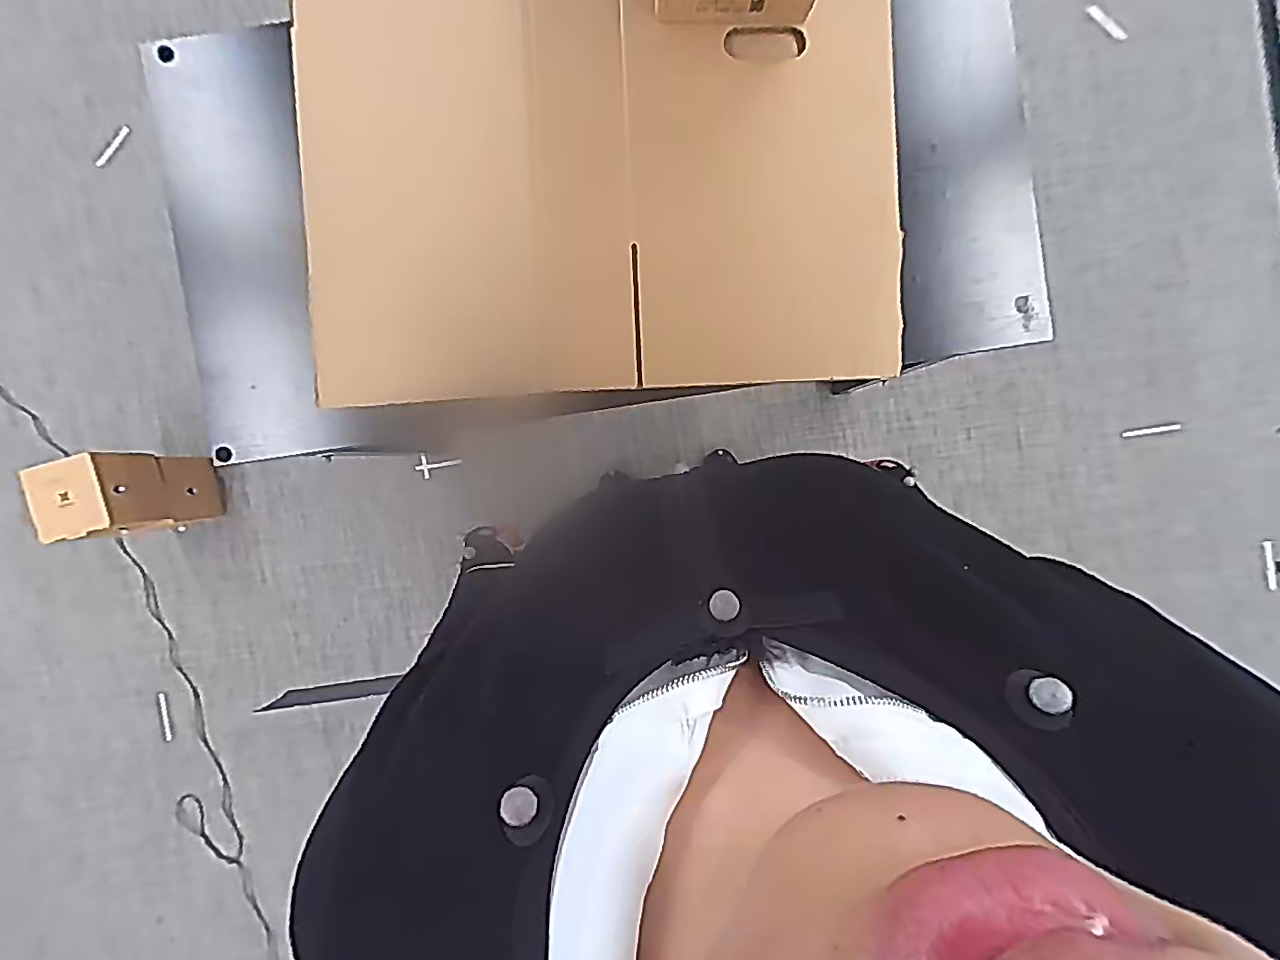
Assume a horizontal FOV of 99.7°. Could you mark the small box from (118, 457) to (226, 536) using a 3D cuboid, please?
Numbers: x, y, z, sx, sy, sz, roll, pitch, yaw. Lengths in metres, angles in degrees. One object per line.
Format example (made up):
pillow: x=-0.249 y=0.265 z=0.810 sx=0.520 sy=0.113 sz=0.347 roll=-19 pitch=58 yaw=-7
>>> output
small box: x=-1.265 y=0.041 z=1.451 sx=0.168 sy=0.176 sz=0.179 roll=-12 pitch=92 yaw=2

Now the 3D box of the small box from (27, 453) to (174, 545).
small box: x=-1.271 y=0.040 z=1.289 sx=0.168 sy=0.176 sz=0.179 roll=-16 pitch=90 yaw=1

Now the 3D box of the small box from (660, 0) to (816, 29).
small box: x=0.103 y=-0.576 z=0.502 sx=0.168 sy=0.176 sz=0.179 roll=-1 pitch=90 yaw=-2
